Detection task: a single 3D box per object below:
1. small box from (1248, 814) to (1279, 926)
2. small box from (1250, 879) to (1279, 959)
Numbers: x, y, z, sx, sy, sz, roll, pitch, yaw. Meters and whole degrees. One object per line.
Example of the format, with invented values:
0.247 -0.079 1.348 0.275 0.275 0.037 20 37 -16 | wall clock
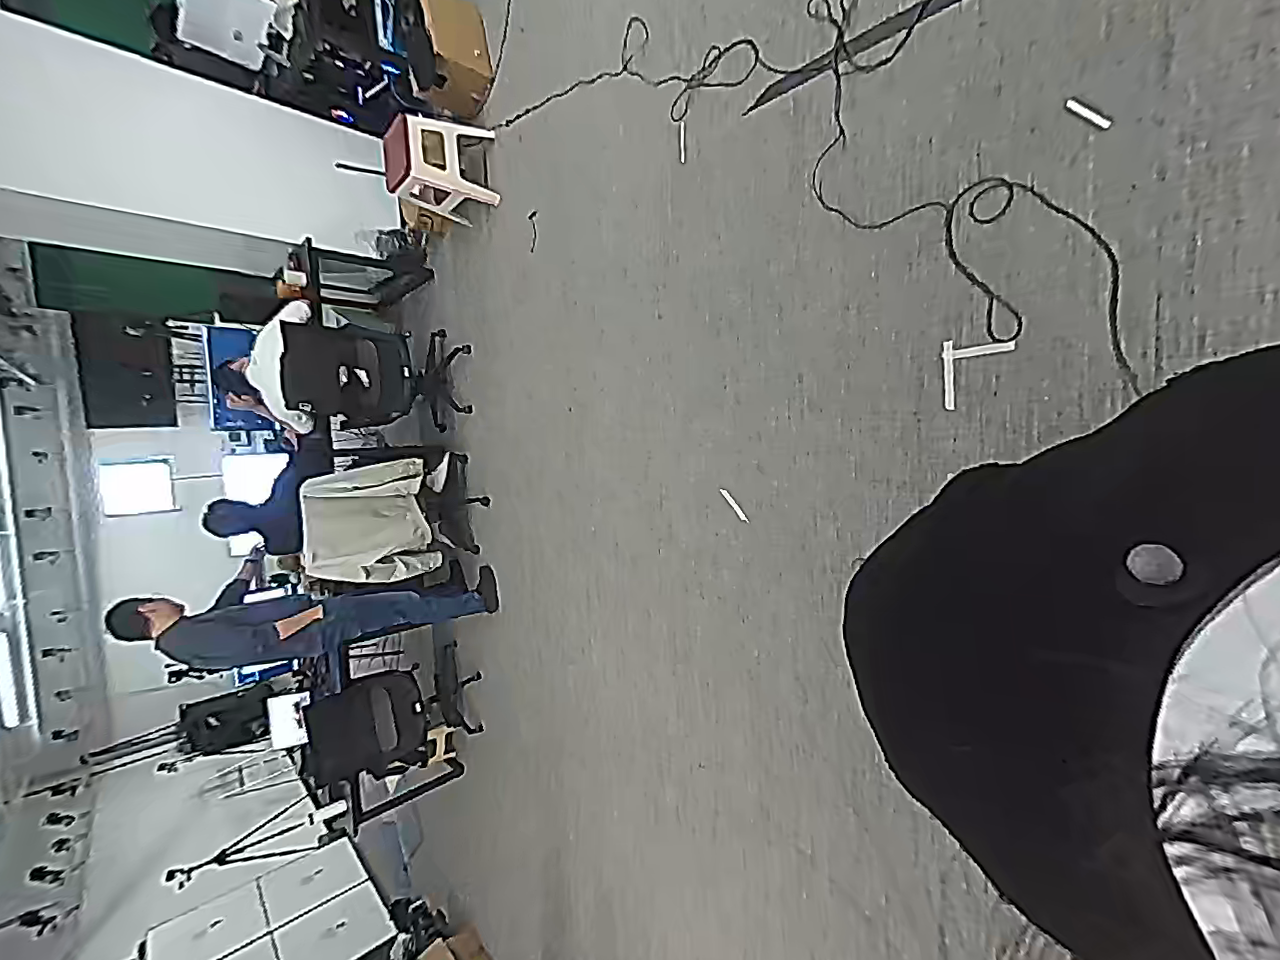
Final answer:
0.819 0.530 0.611 0.168 0.176 0.179 1 94 46 | small box
0.695 0.530 0.502 0.168 0.176 0.179 3 95 46 | small box
